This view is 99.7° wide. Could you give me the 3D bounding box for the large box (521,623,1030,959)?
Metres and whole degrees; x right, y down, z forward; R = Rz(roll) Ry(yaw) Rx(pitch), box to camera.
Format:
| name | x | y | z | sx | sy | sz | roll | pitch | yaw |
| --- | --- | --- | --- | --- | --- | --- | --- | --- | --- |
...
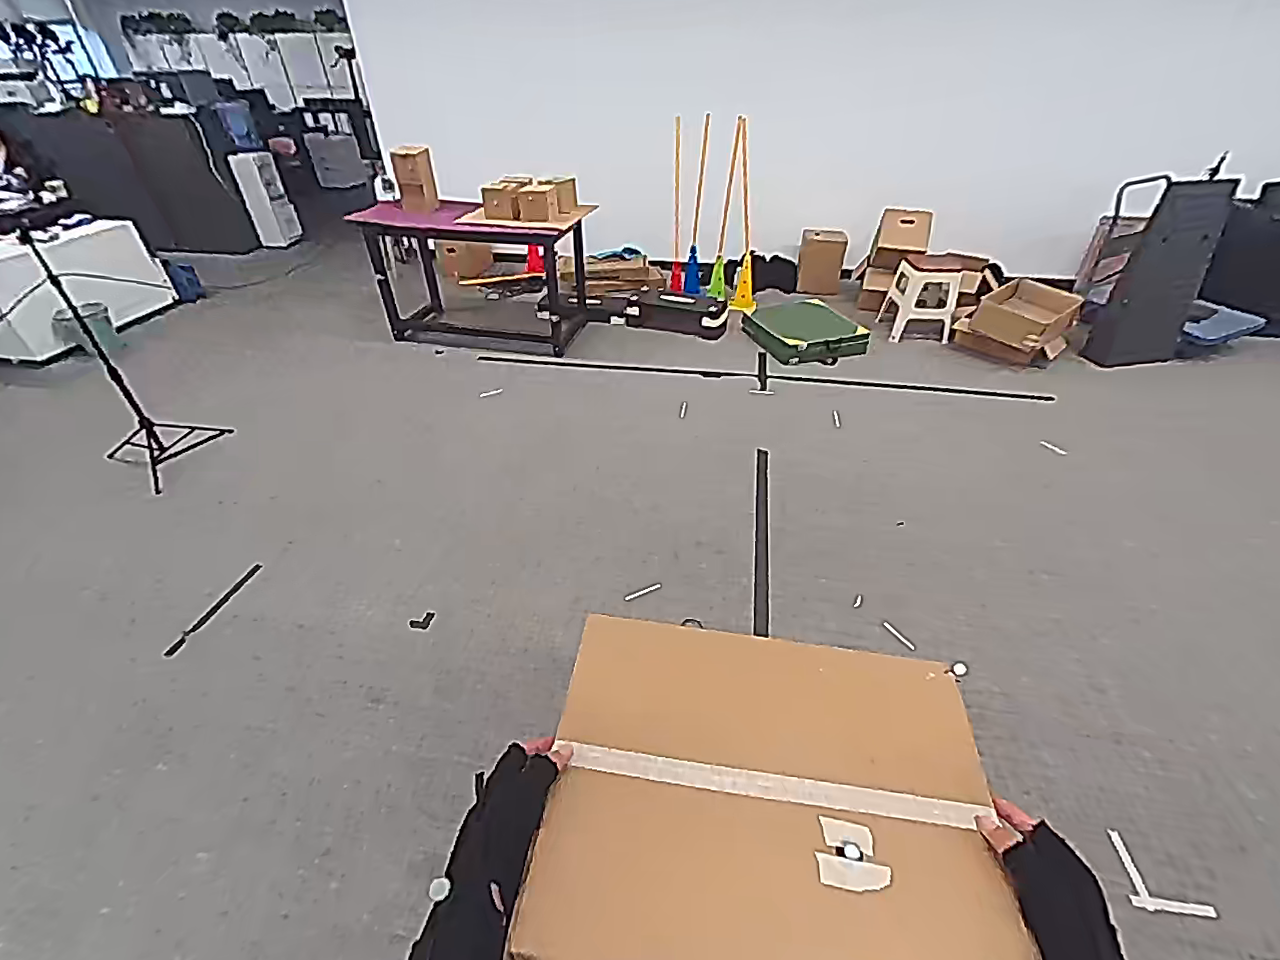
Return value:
| name | x | y | z | sx | sy | sz | roll | pitch | yaw |
| --- | --- | --- | --- | --- | --- | --- | --- | --- | --- |
| large box | 0.115 | 0.398 | 0.607 | 0.408 | 0.320 | 0.320 | 7 | 43 | 5 |
